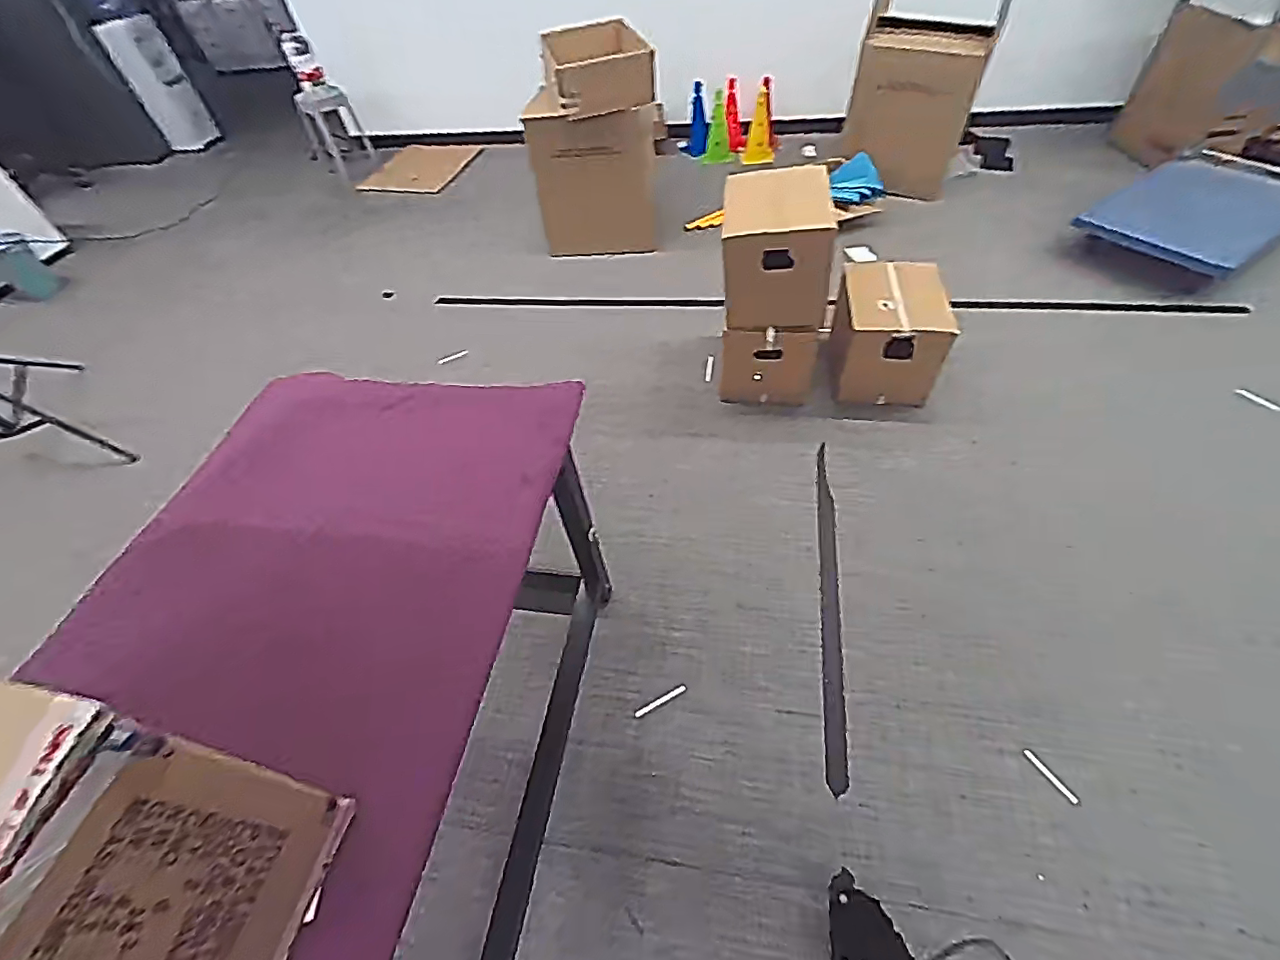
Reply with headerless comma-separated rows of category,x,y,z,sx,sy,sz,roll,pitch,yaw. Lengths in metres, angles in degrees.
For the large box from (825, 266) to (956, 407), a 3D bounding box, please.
large box,0.860,-0.512,1.925,0.320,0.320,0.408,3,52,9
